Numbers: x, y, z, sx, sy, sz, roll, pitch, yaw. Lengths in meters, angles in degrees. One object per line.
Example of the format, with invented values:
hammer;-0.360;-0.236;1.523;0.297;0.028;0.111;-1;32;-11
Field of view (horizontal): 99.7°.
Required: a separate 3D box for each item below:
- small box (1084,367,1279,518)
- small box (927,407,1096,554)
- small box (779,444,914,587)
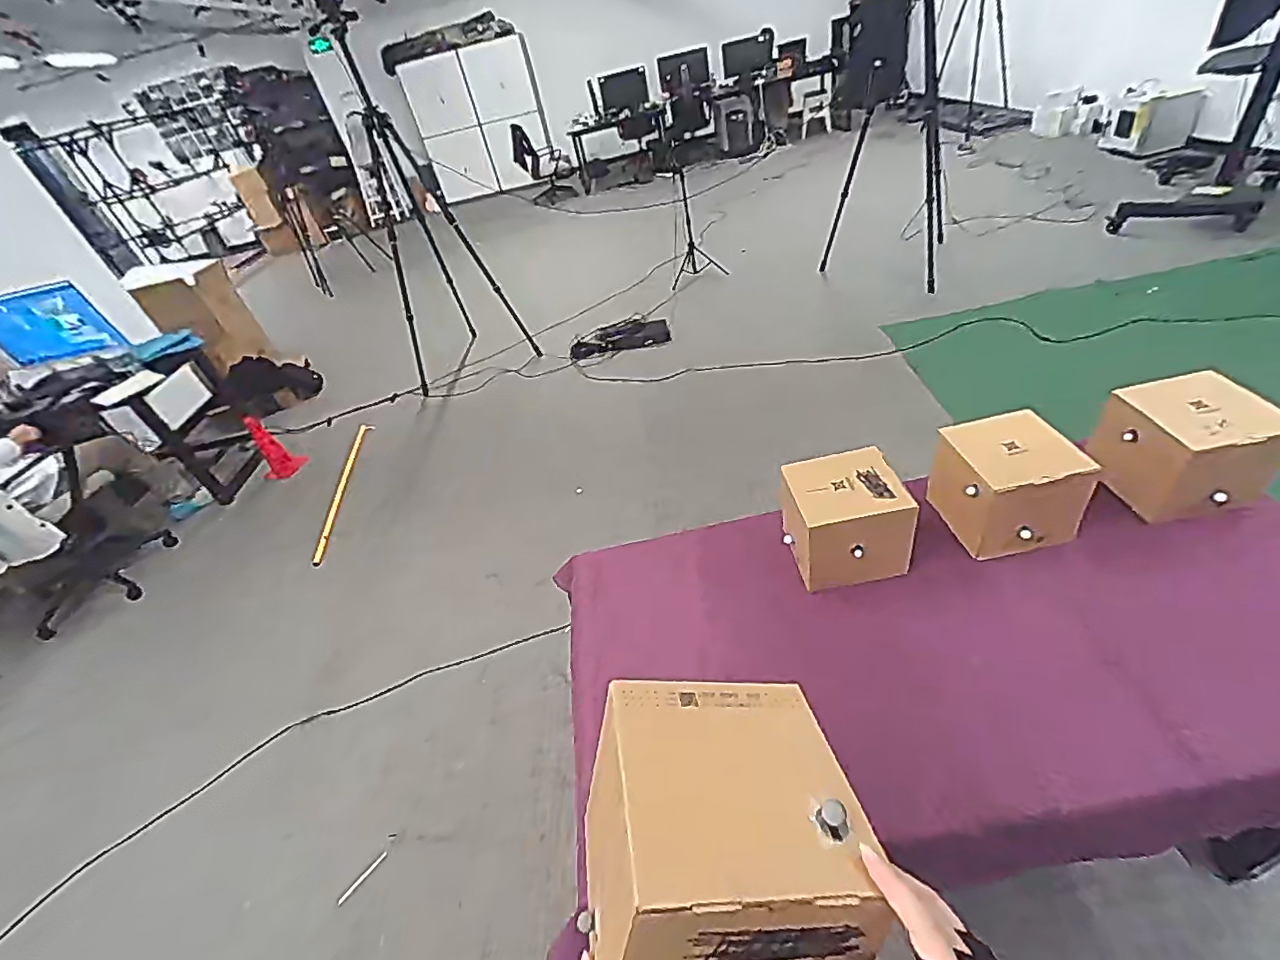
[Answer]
small box;0.911;-0.063;0.920;0.168;0.176;0.179;-13;42;6
small box;0.630;0.001;0.948;0.168;0.176;0.179;-13;40;3
small box;0.356;0.065;0.961;0.179;0.176;0.168;-13;39;5
